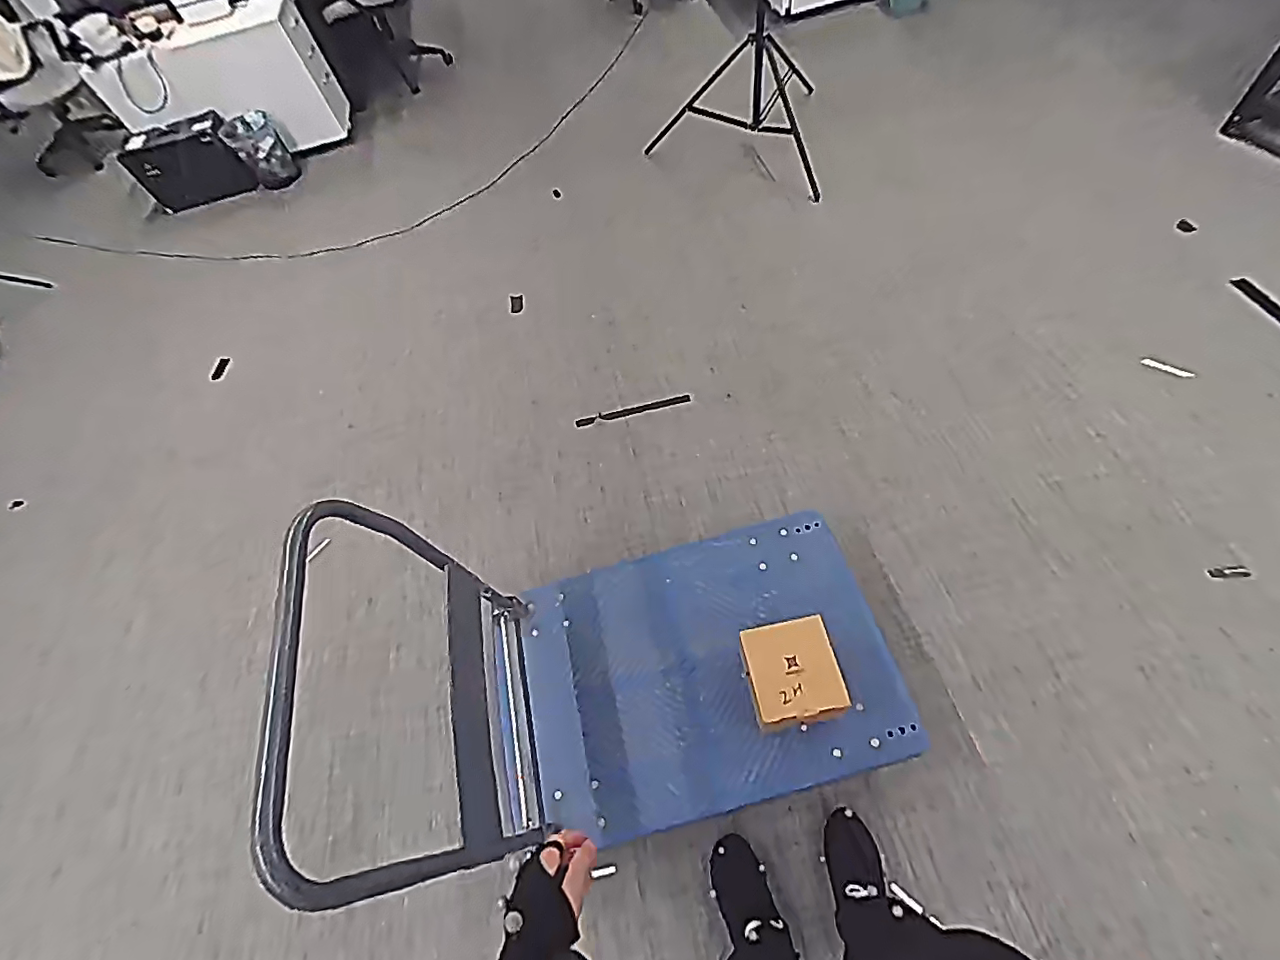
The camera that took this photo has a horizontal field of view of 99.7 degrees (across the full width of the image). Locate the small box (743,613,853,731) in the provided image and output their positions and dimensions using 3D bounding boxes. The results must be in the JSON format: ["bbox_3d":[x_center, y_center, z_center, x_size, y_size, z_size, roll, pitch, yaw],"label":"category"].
[{"bbox_3d":[0.310,0.395,1.102,0.168,0.176,0.179,-13,58,3],"label":"small box"}]
